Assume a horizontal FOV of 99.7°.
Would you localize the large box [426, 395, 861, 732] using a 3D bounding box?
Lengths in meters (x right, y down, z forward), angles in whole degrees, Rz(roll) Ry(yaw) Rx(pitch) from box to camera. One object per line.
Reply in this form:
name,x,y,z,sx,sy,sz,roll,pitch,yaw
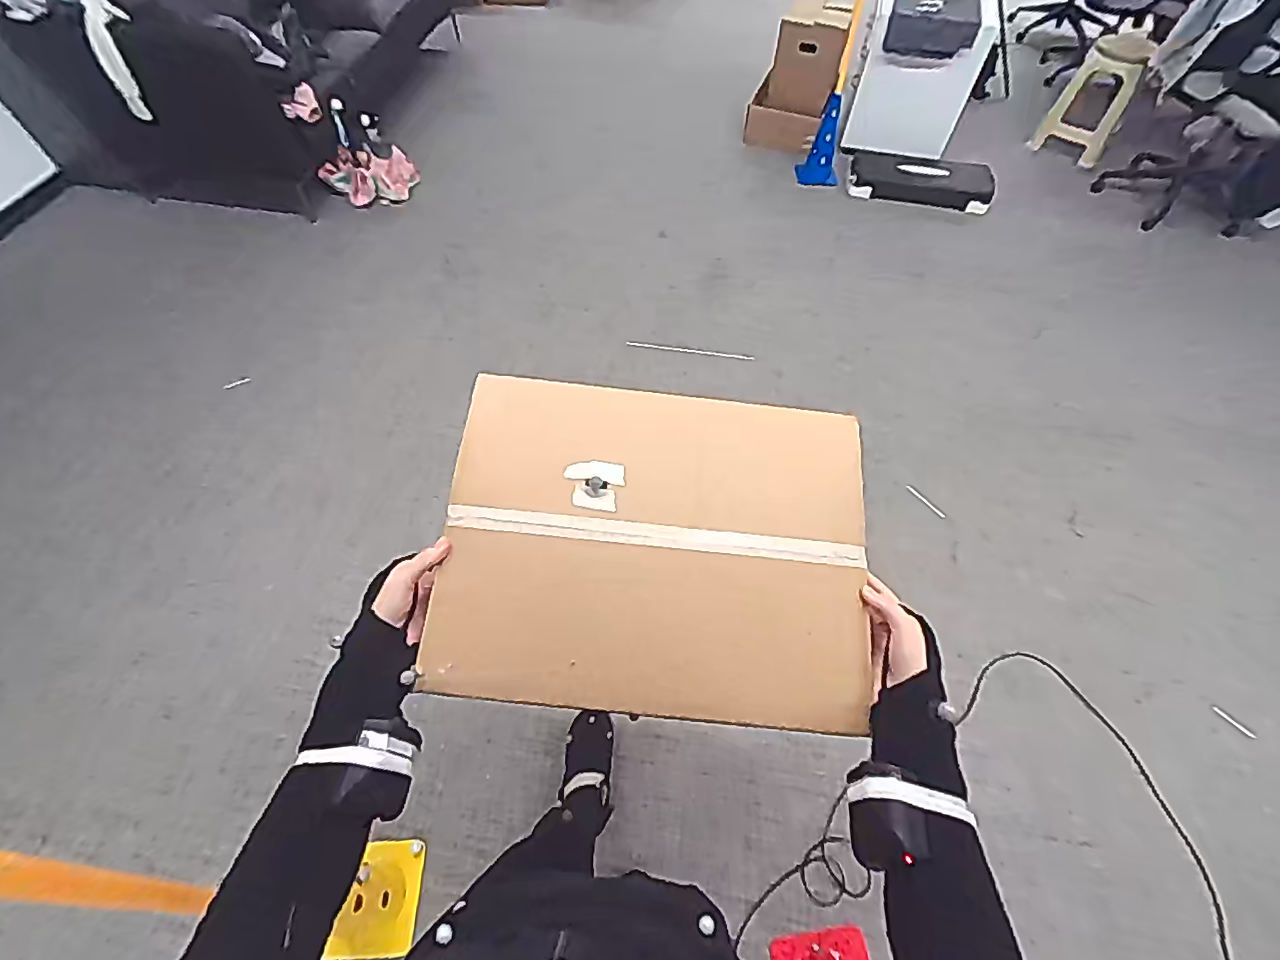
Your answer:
large box,0.011,0.116,0.676,0.408,0.320,0.320,6,69,-1
